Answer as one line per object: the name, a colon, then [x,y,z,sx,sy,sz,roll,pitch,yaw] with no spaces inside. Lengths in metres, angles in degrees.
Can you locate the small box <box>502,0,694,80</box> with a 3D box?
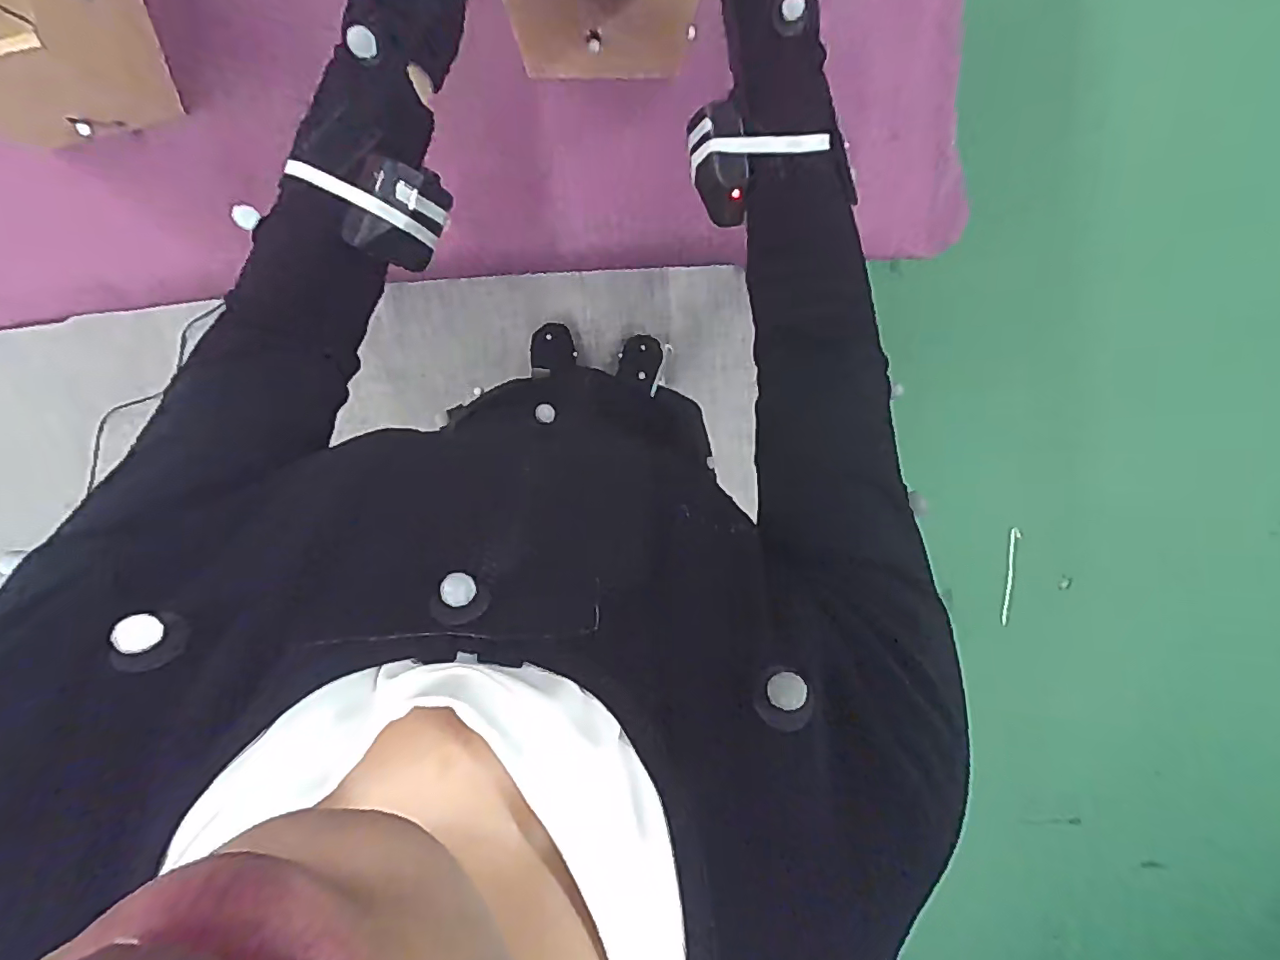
small box: [-0.038,-0.520,0.522,0.179,0.176,0.168,2,103,-3]
